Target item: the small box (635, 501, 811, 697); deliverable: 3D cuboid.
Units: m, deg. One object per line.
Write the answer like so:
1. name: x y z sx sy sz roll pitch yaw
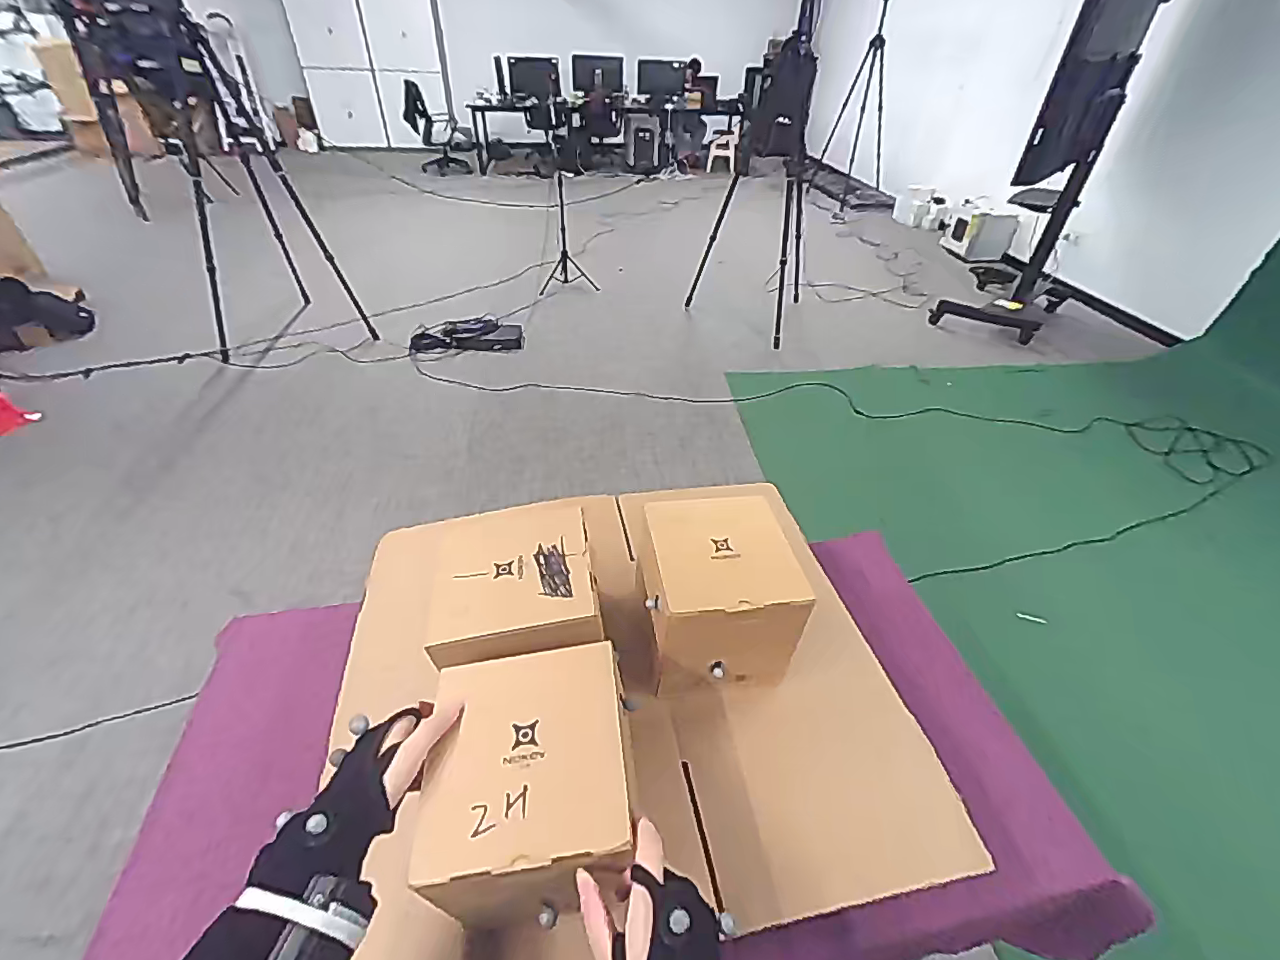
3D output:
1. small box: 0.089 0.148 0.691 0.168 0.176 0.179 -3 41 -9
